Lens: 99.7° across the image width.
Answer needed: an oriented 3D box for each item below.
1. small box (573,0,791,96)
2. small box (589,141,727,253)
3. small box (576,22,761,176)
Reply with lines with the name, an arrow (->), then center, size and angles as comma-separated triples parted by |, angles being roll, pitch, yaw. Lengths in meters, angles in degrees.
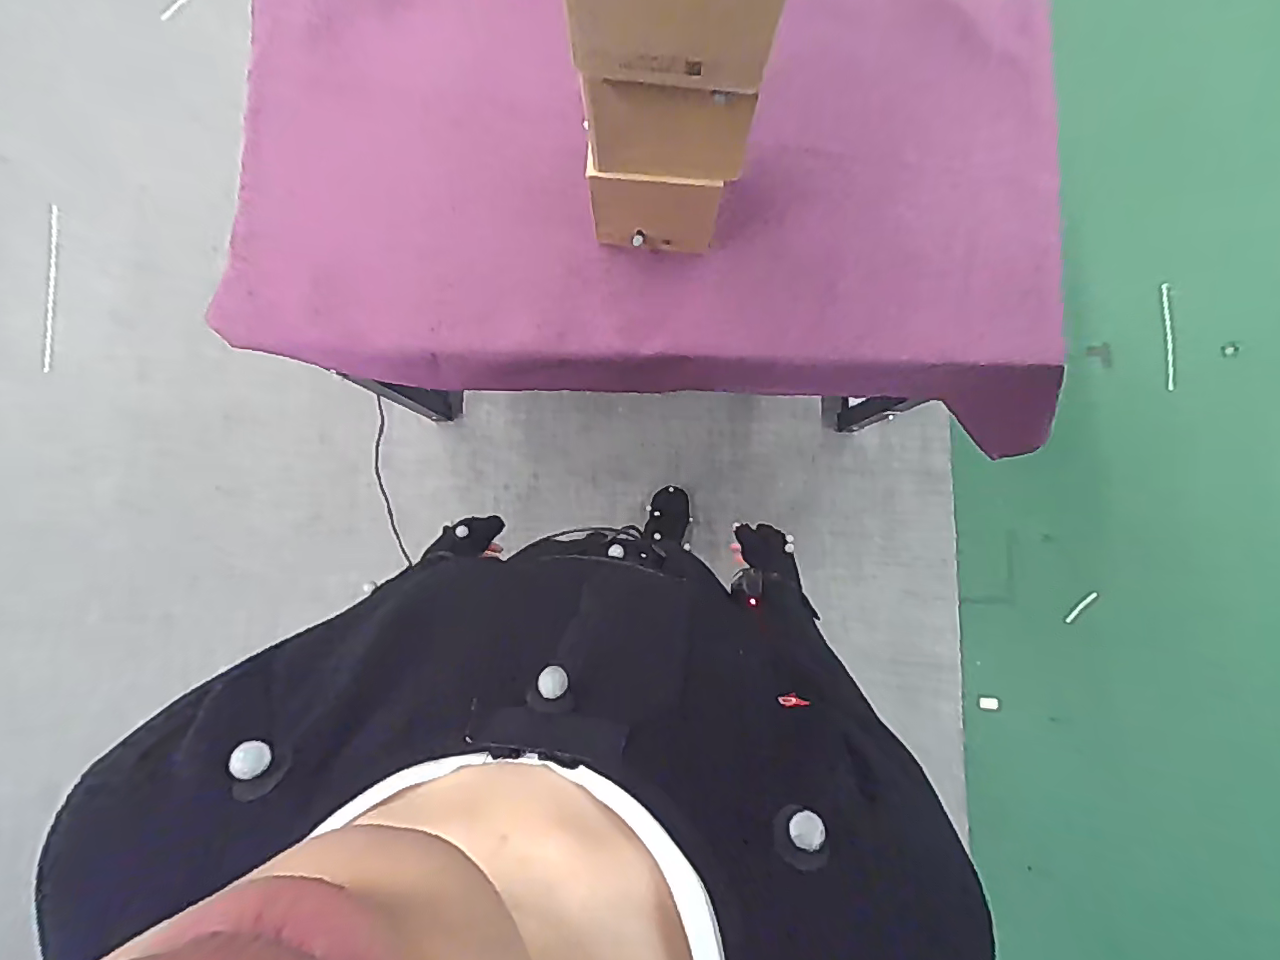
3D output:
small box -> 0.037, -0.433, 0.394 | 0.168, 0.176, 0.179 | 6, 85, 0
small box -> 0.027, -0.431, 0.719 | 0.168, 0.176, 0.179 | 5, 87, 1
small box -> 0.036, -0.444, 0.559 | 0.179, 0.176, 0.168 | 4, 86, 0
